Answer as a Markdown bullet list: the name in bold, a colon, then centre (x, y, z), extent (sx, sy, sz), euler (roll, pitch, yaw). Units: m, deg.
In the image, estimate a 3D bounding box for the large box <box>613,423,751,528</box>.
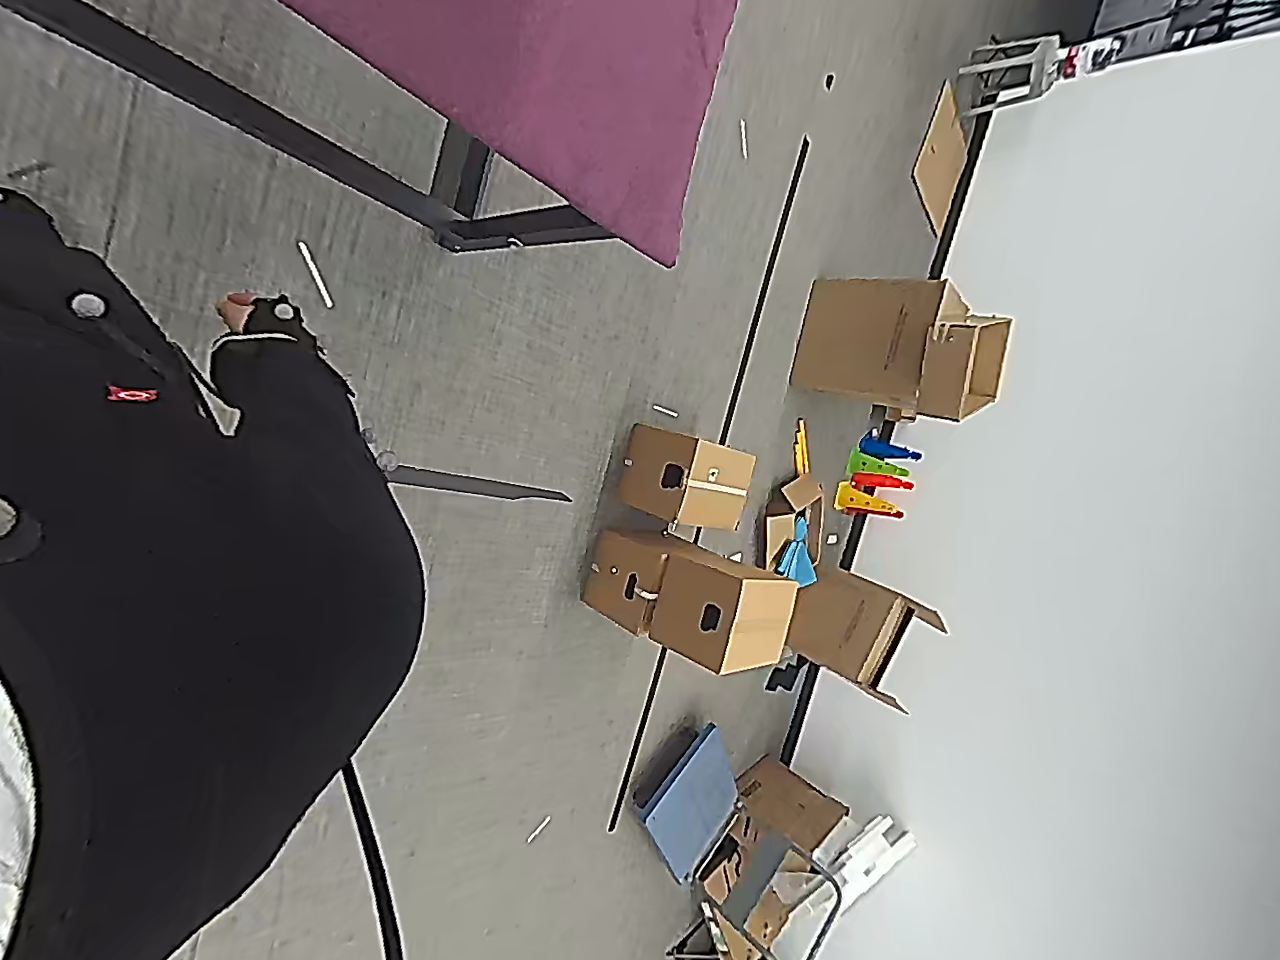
- **large box**: centre (0.165, -0.014, 2.098), extent (0.408, 0.320, 0.320), euler (10, 96, -48)
